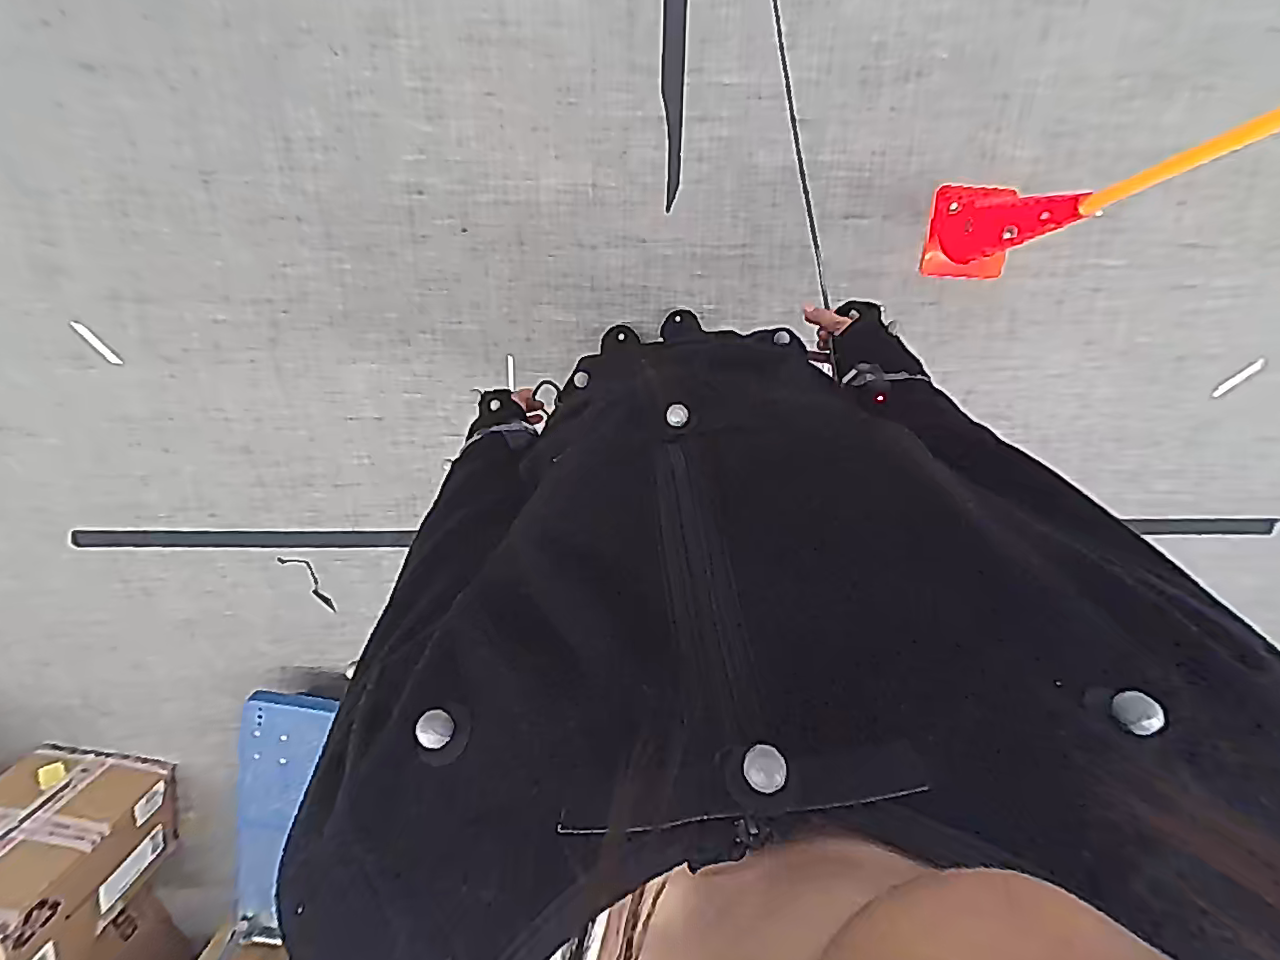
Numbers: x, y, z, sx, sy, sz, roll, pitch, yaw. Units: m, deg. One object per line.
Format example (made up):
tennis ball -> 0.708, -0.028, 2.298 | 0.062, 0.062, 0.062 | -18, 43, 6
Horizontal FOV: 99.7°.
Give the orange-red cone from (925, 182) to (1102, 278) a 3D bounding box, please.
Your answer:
orange-red cone -> 0.785, -0.532, 1.107 | 0.198, 0.360, 0.199 | 4, 108, -2
